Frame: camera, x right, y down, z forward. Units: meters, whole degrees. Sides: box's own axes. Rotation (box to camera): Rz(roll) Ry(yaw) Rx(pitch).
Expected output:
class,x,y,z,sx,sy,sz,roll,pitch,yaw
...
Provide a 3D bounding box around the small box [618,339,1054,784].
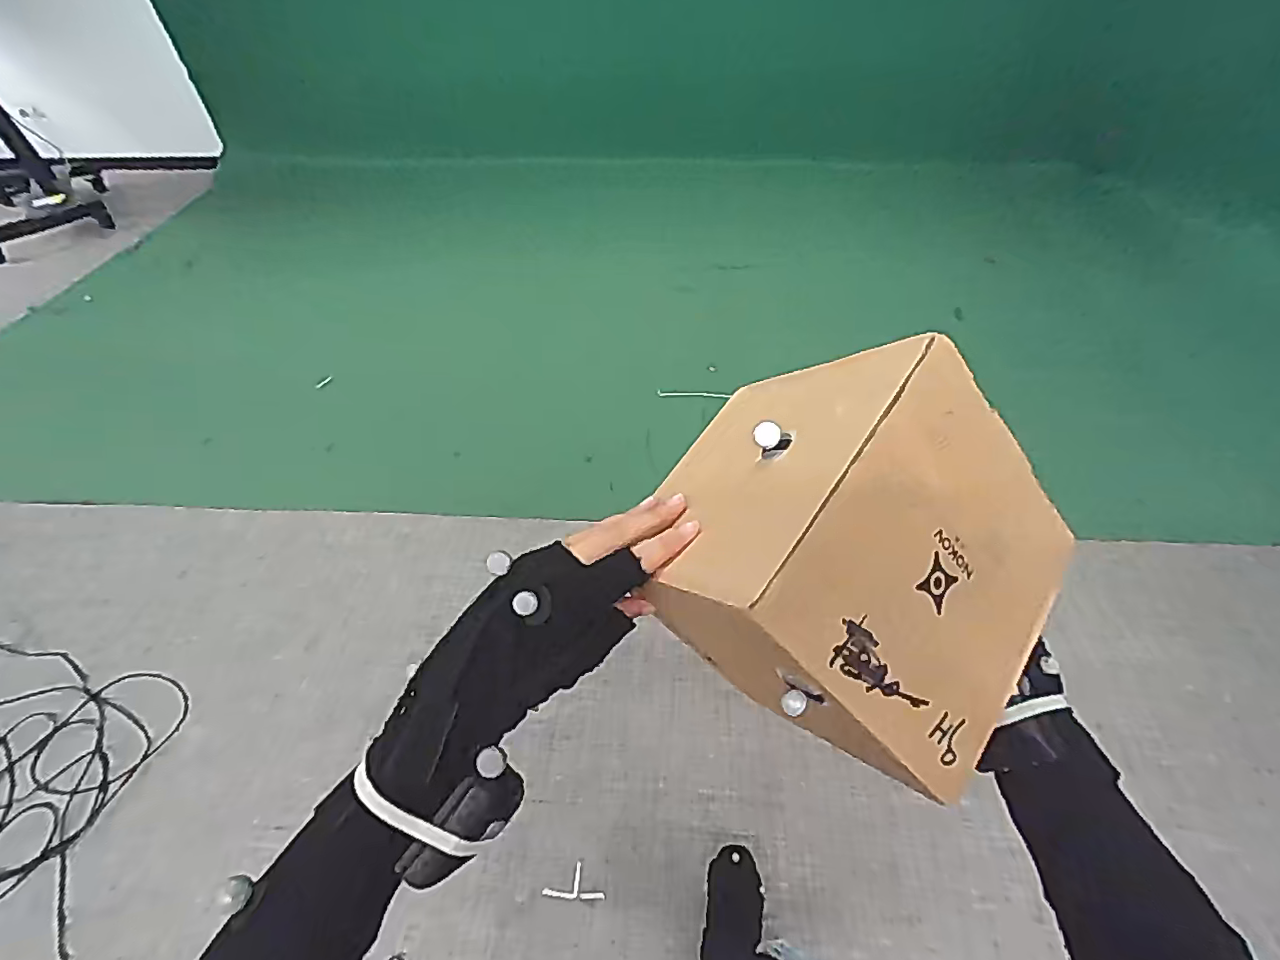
class,x,y,z,sx,sy,sz,roll,pitch,yaw
small box,0.115,0.042,0.353,0.168,0.176,0.179,45,72,-18
